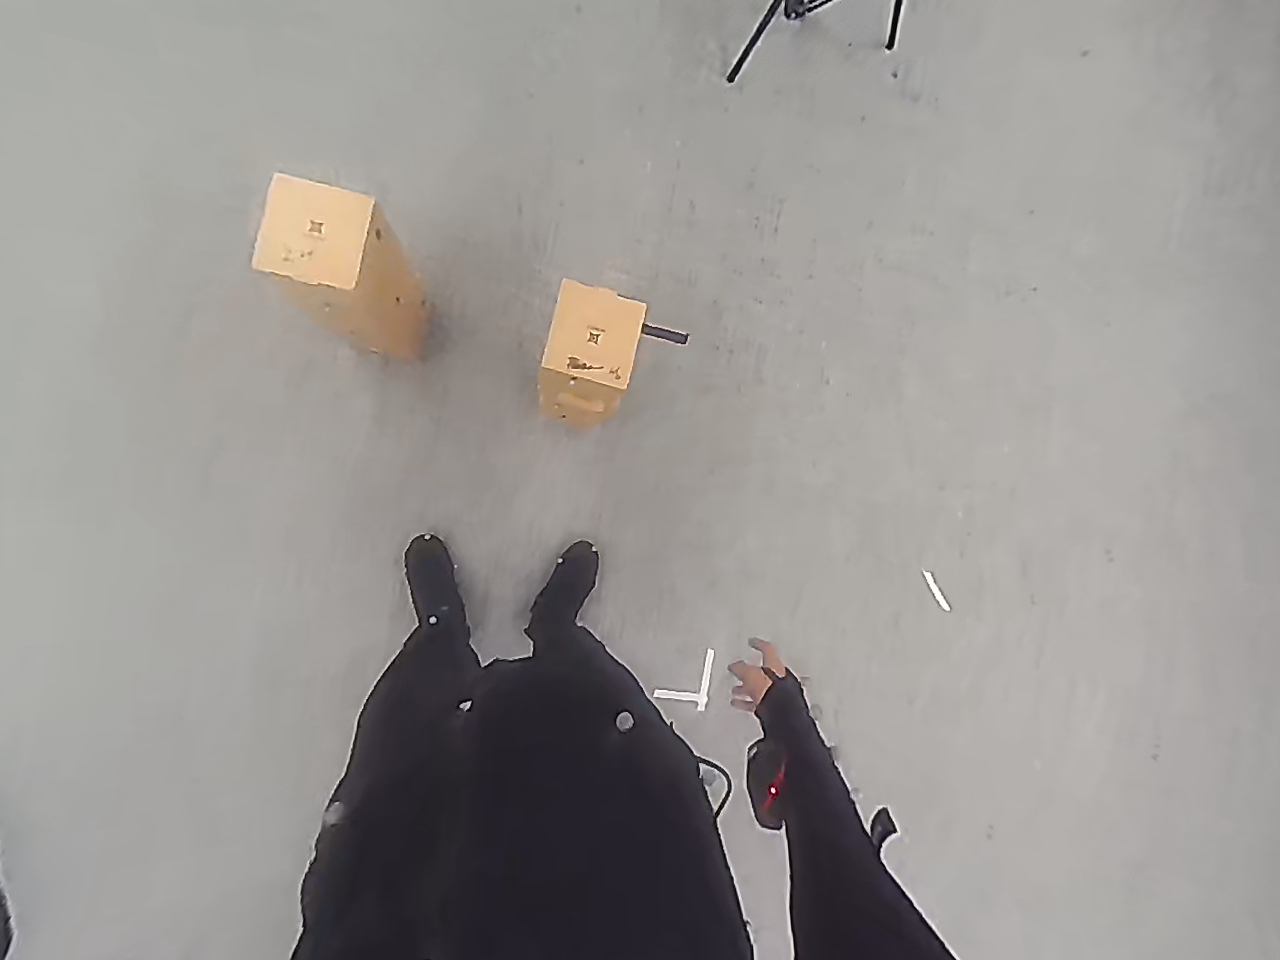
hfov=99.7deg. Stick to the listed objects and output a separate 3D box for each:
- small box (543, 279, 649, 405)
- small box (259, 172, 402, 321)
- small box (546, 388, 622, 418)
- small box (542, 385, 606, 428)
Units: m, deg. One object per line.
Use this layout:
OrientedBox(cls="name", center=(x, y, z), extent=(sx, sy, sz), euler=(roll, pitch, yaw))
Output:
OrientedBox(cls="small box", center=(-0.096, -0.267, 1.089), extent=(0.168, 0.176, 0.179), euler=(15, 84, -11))
OrientedBox(cls="small box", center=(-0.558, -0.421, 1.002), extent=(0.168, 0.176, 0.179), euler=(11, 85, -9))
OrientedBox(cls="small box", center=(-0.117, -0.254, 1.252), extent=(0.168, 0.176, 0.179), euler=(15, 84, -11))
OrientedBox(cls="small box", center=(-0.157, -0.247, 1.411), extent=(0.168, 0.176, 0.179), euler=(16, 85, -11))
